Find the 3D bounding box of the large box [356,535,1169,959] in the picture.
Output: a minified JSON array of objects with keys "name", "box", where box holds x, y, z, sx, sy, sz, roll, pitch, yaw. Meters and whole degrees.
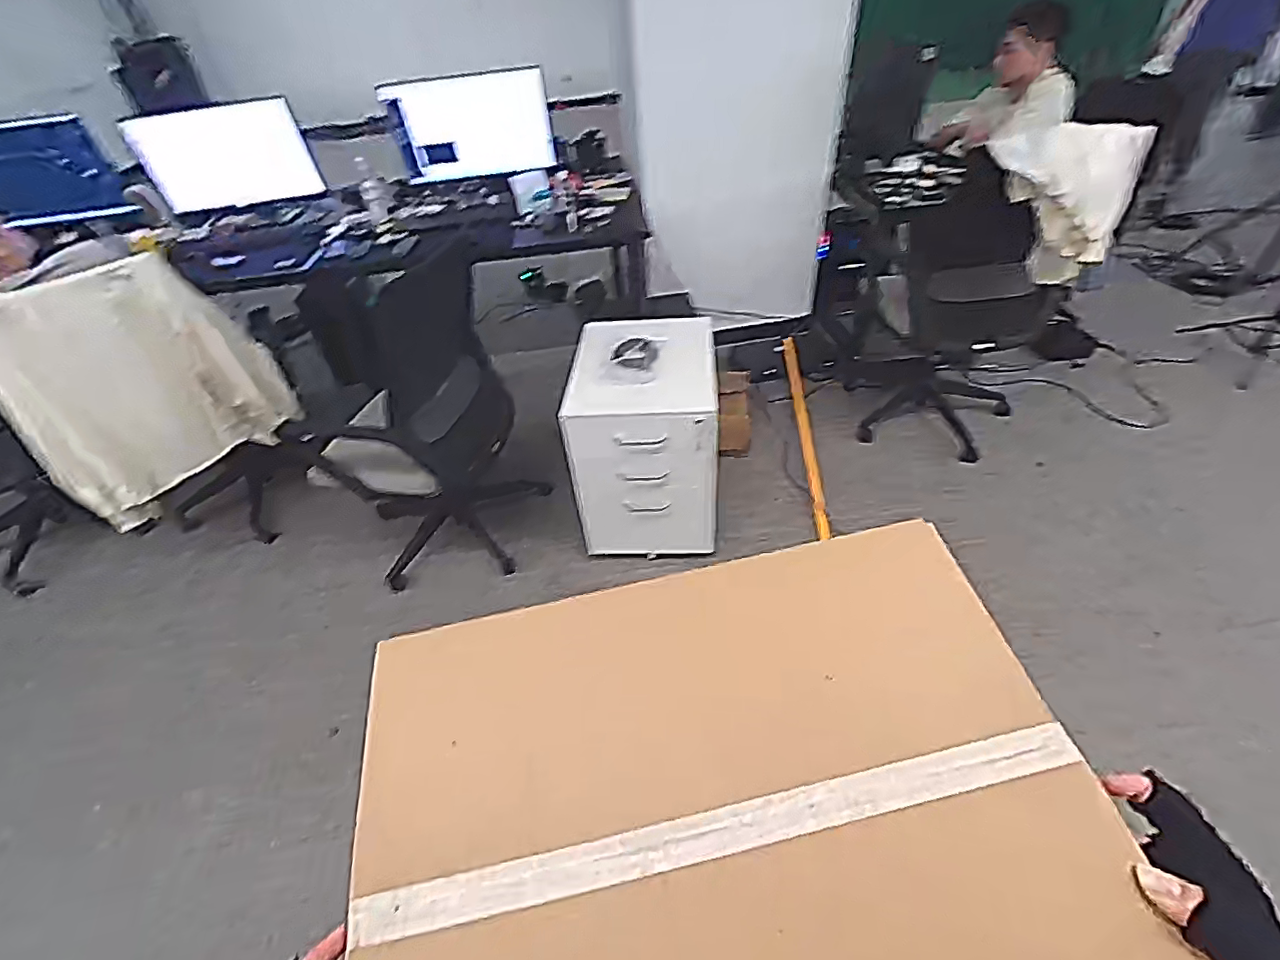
[{"name":"large box","box":[0.056,0.290,0.421,0.408,0.320,0.320,-13,52,-3]}]
